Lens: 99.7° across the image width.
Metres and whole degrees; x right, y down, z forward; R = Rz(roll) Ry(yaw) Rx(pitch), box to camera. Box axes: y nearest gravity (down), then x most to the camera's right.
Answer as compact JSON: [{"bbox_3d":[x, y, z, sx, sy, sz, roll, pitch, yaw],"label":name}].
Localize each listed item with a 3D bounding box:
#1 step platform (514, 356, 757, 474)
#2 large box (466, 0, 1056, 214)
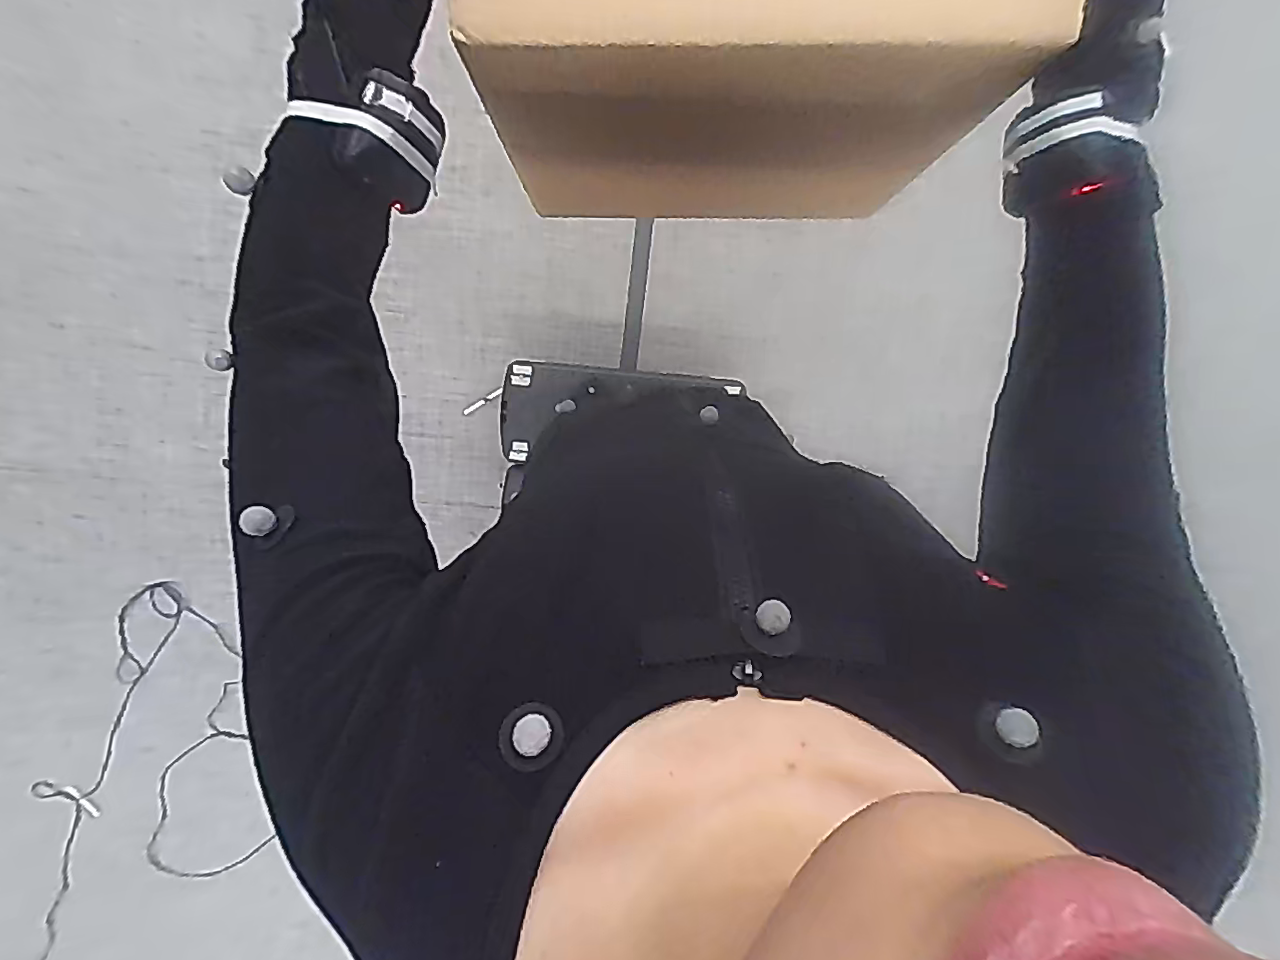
[{"bbox_3d":[-0.014,-0.185,1.552,0.684,0.204,0.286,4,99,-4],"label":"step platform"},{"bbox_3d":[0.074,-0.460,0.492,0.408,0.320,0.320,-1,97,-1],"label":"large box"}]
